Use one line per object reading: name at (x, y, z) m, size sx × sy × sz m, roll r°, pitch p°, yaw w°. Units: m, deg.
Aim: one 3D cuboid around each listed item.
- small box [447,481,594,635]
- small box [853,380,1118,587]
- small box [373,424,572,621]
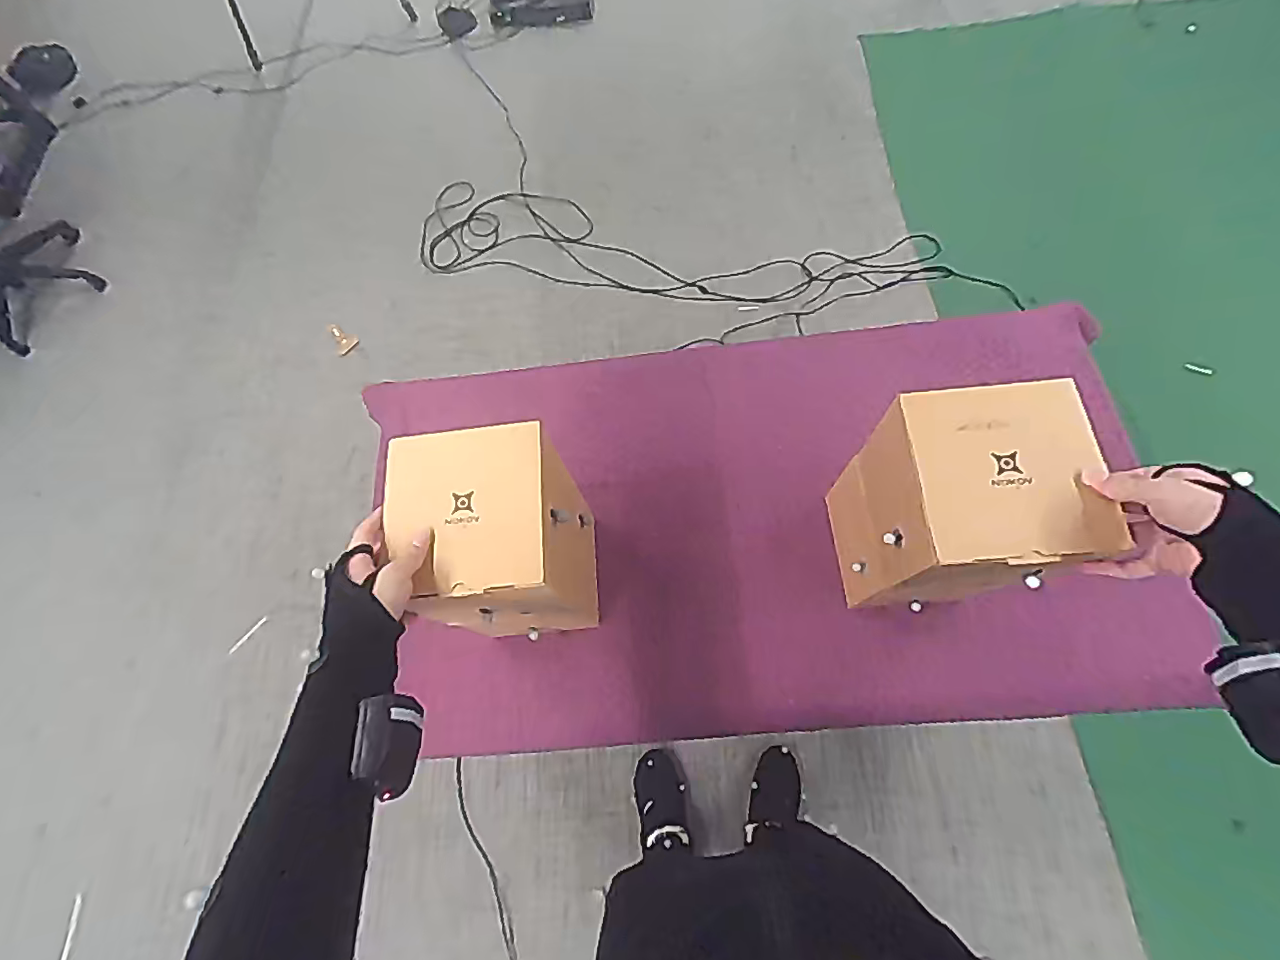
small box at (-0.161, 0.117, 0.771) m, size 0.168 × 0.176 × 0.179 m, roll -6°, pitch 68°, yaw 4°
small box at (0.342, 0.016, 0.579) m, size 0.168 × 0.176 × 0.179 m, roll -4°, pitch 68°, yaw 6°
small box at (-0.177, 0.057, 0.620) m, size 0.168 × 0.176 × 0.179 m, roll -7°, pitch 69°, yaw 3°
